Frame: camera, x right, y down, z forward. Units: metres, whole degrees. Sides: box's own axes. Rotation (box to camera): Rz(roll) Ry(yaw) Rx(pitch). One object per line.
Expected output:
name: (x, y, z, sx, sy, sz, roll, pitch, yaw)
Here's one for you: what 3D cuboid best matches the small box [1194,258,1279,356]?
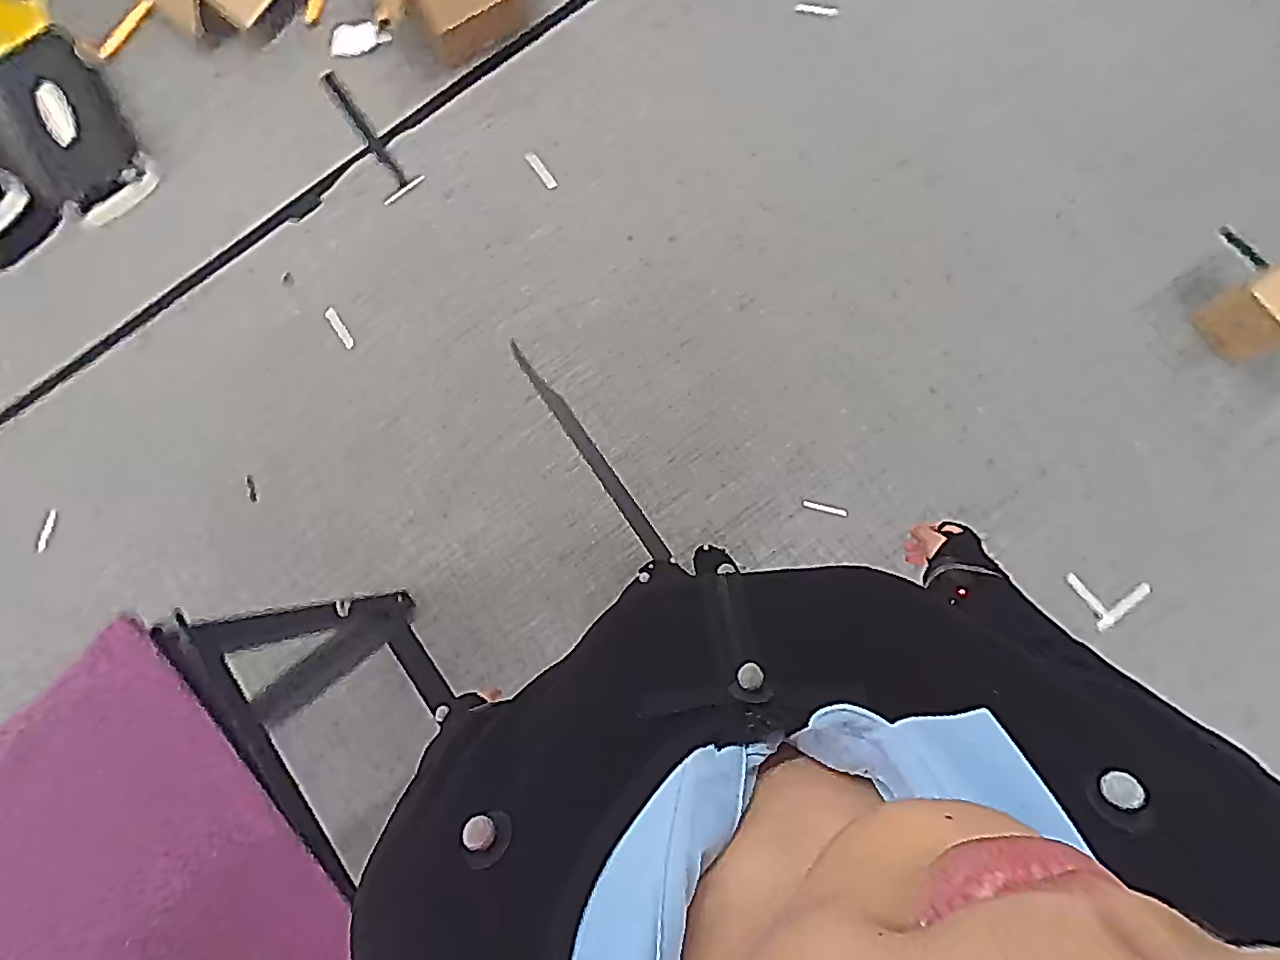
small box: (1.624, -0.453, 1.412, 0.179, 0.176, 0.168, -34, 81, -1)
